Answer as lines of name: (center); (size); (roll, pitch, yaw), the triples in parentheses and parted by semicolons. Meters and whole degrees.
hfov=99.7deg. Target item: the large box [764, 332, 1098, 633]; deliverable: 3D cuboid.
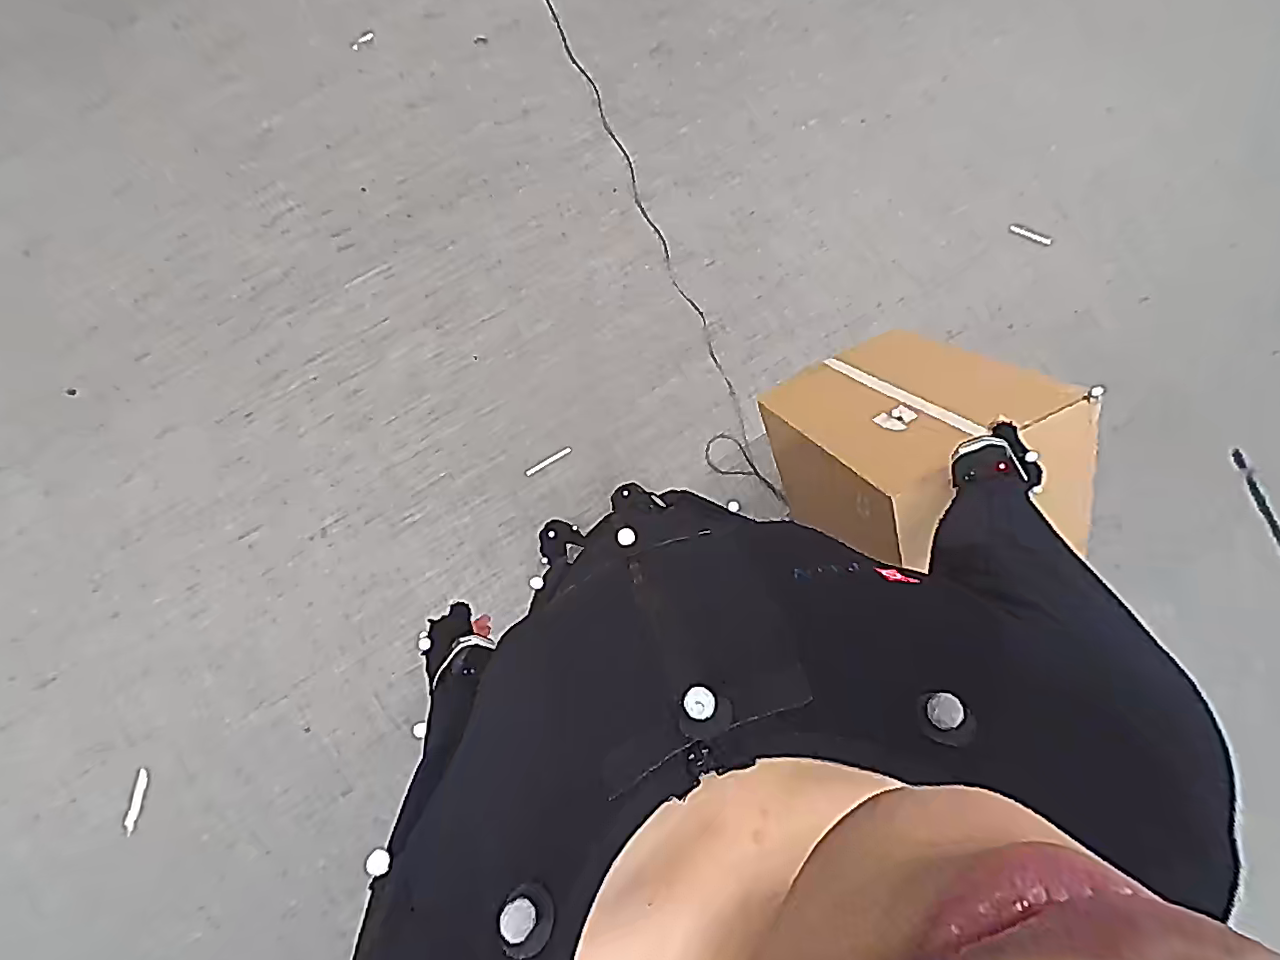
large box: (0.477, -0.018, 0.964); (0.320, 0.408, 0.320); (-27, 123, -1)
